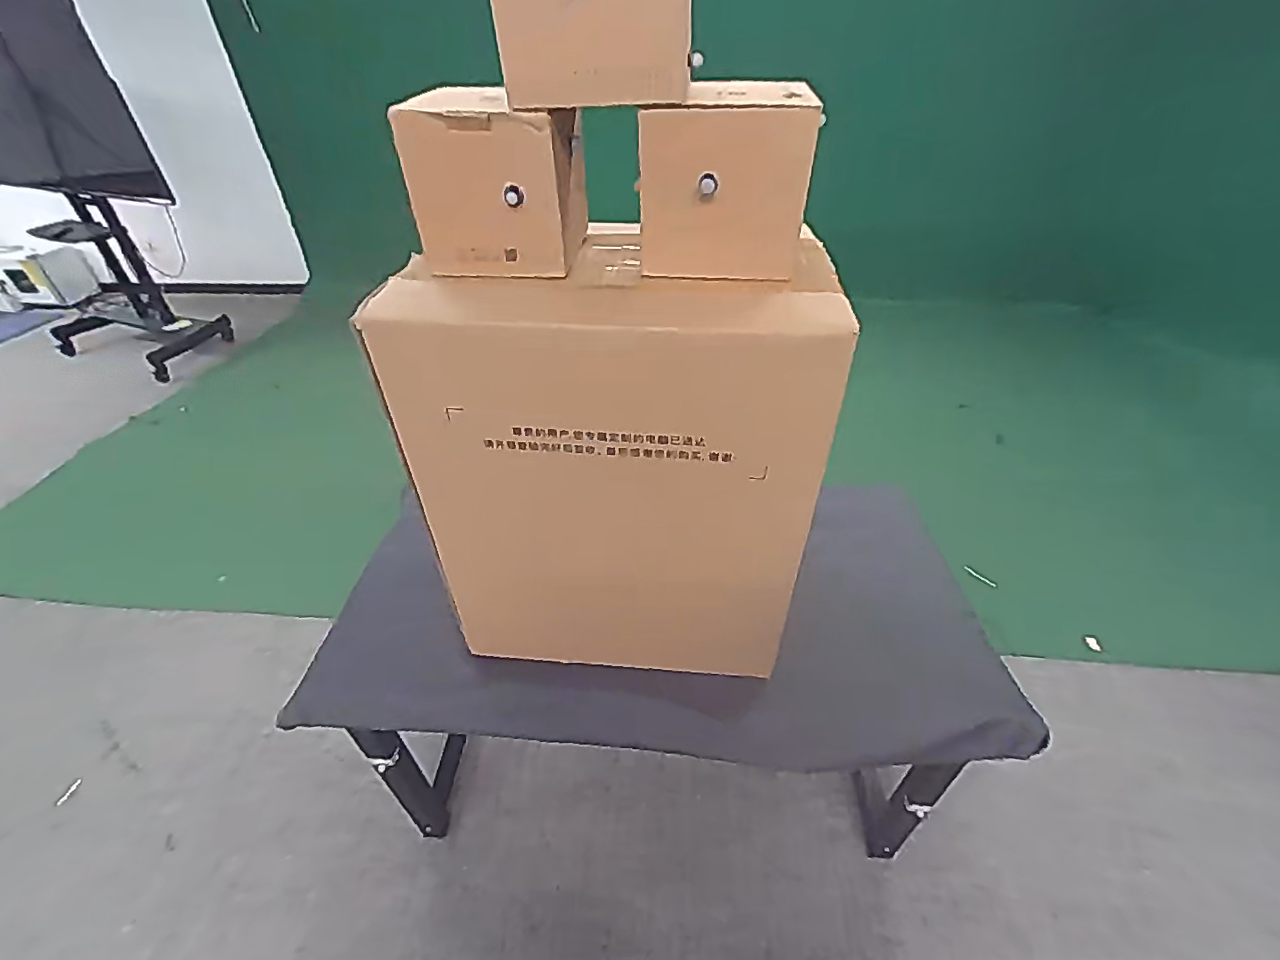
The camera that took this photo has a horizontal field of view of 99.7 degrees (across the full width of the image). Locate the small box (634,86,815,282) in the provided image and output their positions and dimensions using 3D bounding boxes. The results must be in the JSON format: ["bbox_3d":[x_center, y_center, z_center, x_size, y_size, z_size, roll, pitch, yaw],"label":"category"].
[{"bbox_3d":[0.093,-0.341,0.627,0.179,0.176,0.168,3,43,6],"label":"small box"}]

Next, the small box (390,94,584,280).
[{"bbox_3d":[-0.162,-0.352,0.649,0.168,0.176,0.179,4,41,3],"label":"small box"}]

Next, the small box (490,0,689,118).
[{"bbox_3d":[-0.040,-0.470,0.529,0.179,0.176,0.168,1,42,6],"label":"small box"}]
